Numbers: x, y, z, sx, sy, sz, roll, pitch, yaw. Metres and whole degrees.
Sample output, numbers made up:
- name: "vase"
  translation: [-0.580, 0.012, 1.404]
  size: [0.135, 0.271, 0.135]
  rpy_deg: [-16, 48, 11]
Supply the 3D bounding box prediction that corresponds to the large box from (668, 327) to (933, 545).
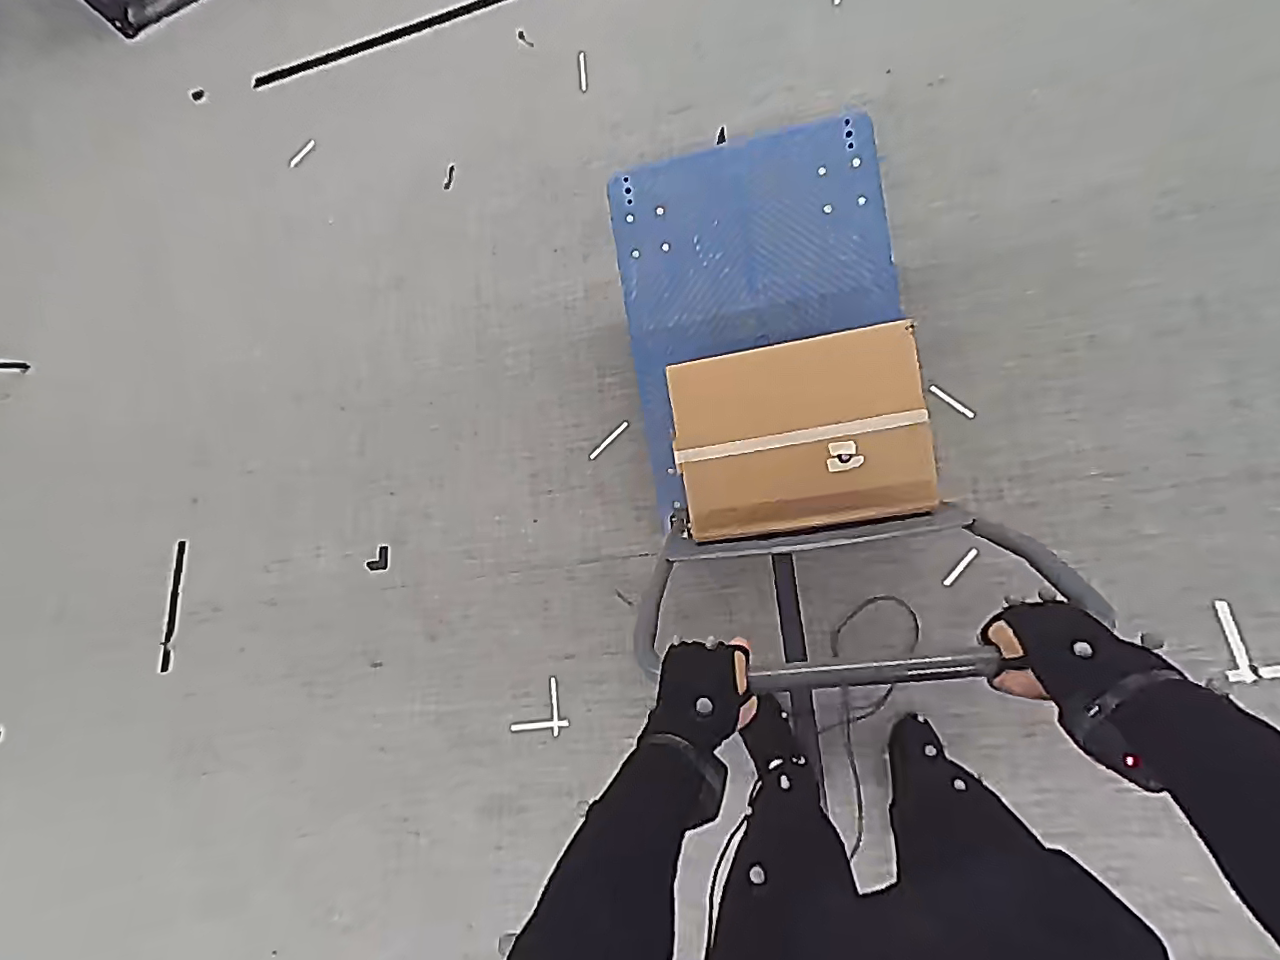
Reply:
- name: "large box"
  translation: [0.290, -0.075, 1.068]
  size: [0.408, 0.320, 0.320]
  rpy_deg: [-10, 92, 10]
